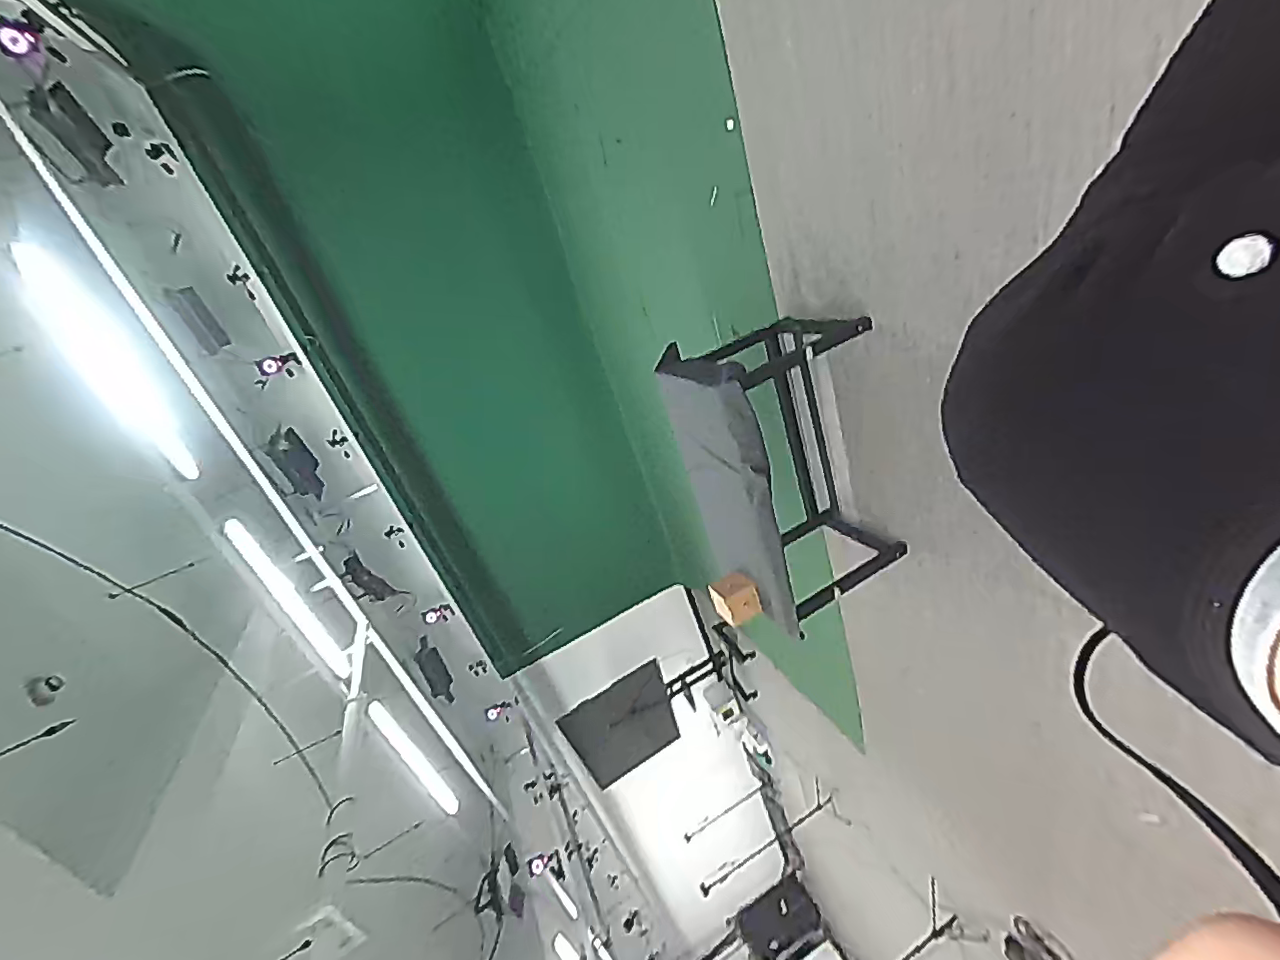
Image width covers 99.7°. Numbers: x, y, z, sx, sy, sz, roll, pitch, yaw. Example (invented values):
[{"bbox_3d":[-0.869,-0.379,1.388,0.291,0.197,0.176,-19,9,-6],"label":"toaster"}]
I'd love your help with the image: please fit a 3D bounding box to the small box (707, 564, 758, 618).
[{"bbox_3d":[0.463,0.539,2.656,0.179,0.176,0.168,31,145,65],"label":"small box"}]
